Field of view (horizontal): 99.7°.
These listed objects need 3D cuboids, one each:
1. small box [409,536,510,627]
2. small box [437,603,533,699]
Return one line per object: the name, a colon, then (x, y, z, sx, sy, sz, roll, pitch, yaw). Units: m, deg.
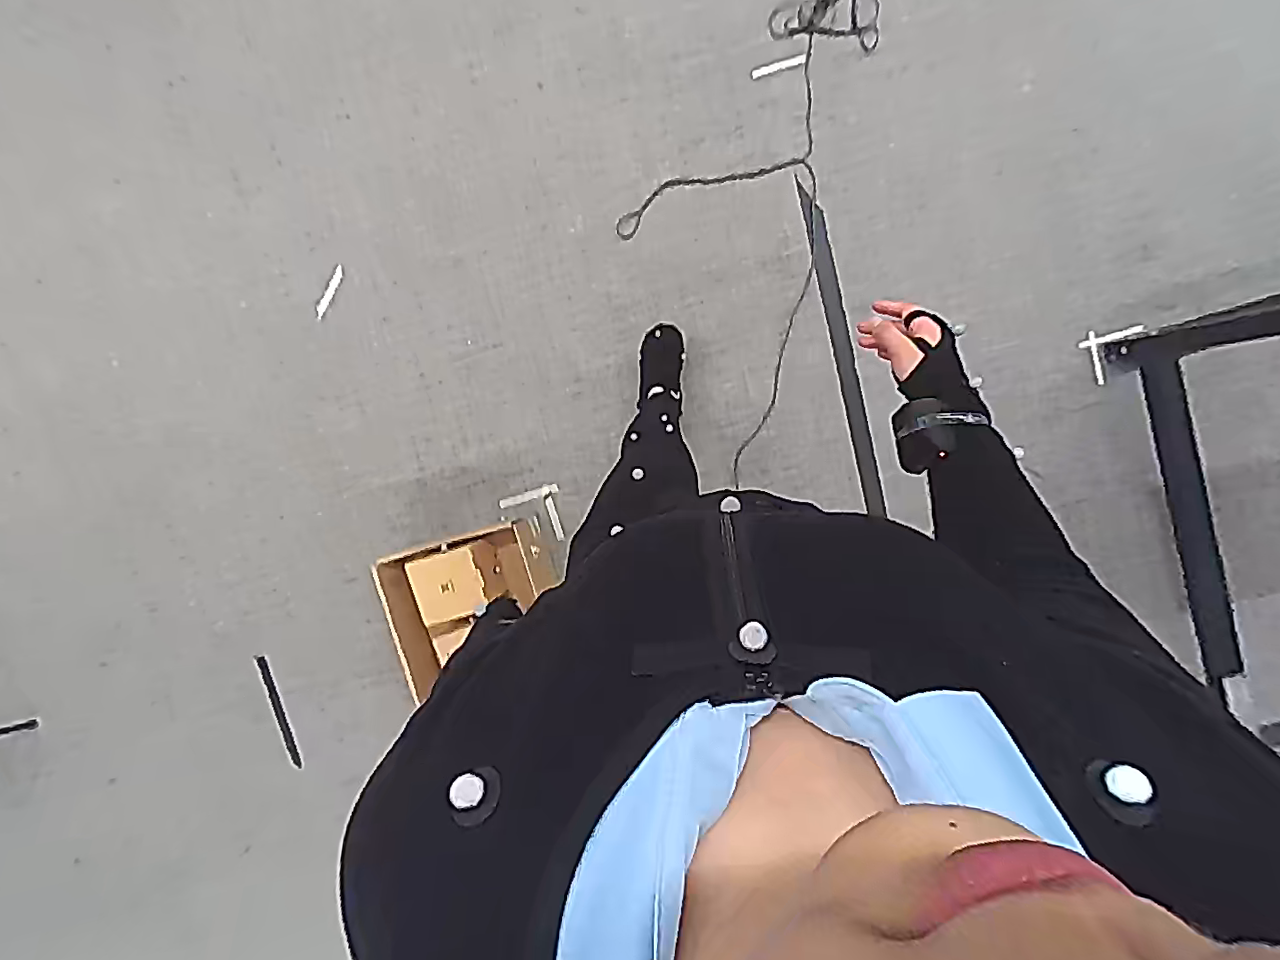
small box: (-0.466, 0.260, 1.419, 0.179, 0.176, 0.168, -16, 96, 5)
small box: (-0.399, 0.445, 1.432, 0.179, 0.176, 0.168, -20, 92, 6)
